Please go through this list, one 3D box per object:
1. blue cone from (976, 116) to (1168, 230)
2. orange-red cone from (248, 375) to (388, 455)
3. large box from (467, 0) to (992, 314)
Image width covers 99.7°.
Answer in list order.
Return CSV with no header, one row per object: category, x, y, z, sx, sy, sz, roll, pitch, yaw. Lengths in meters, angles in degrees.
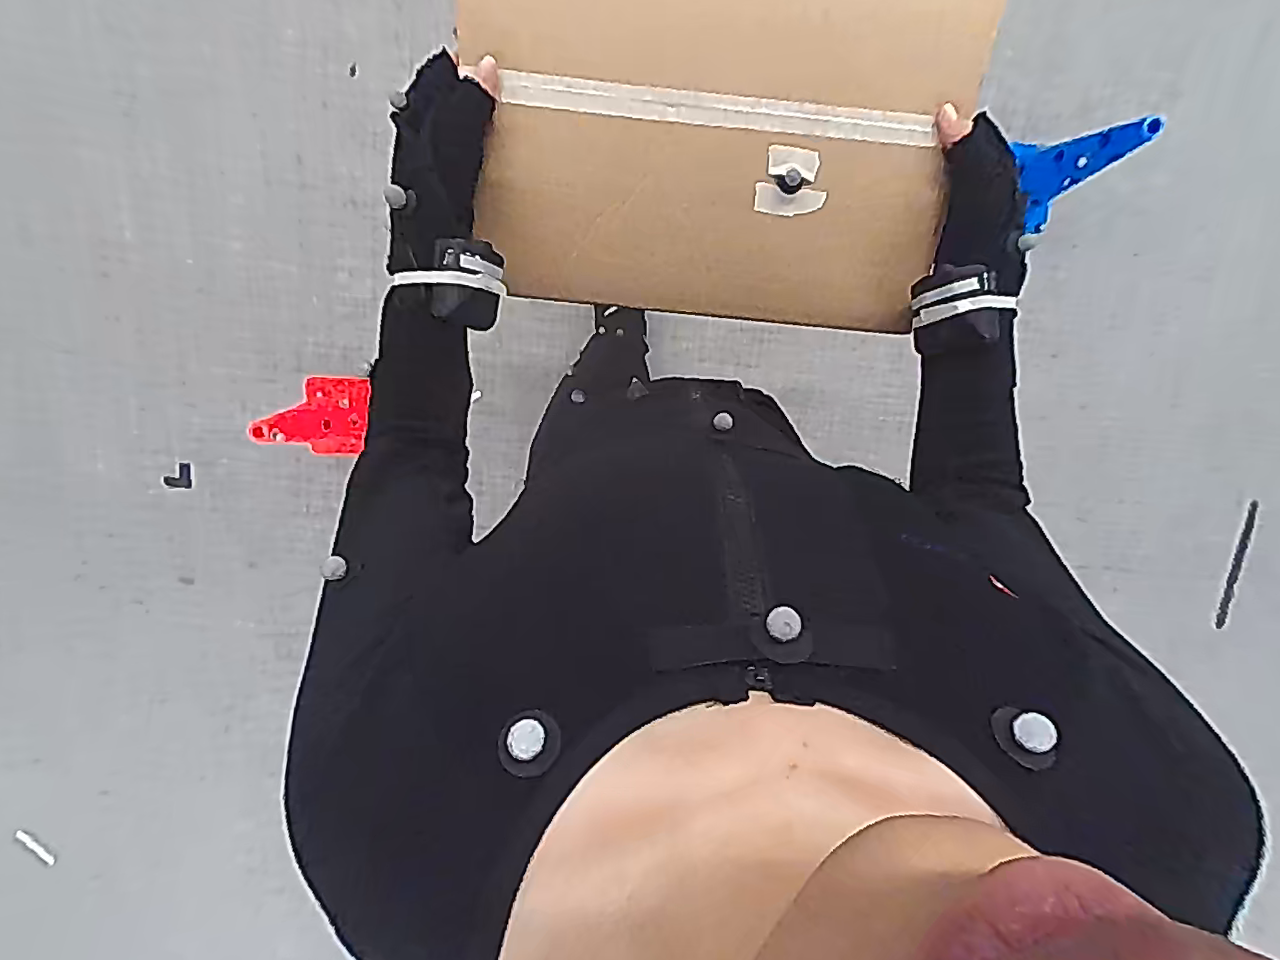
blue cone,0.949,-0.700,1.188,0.192,0.380,0.193,8,101,-5
orange-red cone,-0.746,-0.127,1.221,0.198,0.360,0.199,2,103,-2
large box,0.060,-0.365,0.569,0.408,0.320,0.320,5,114,-3
